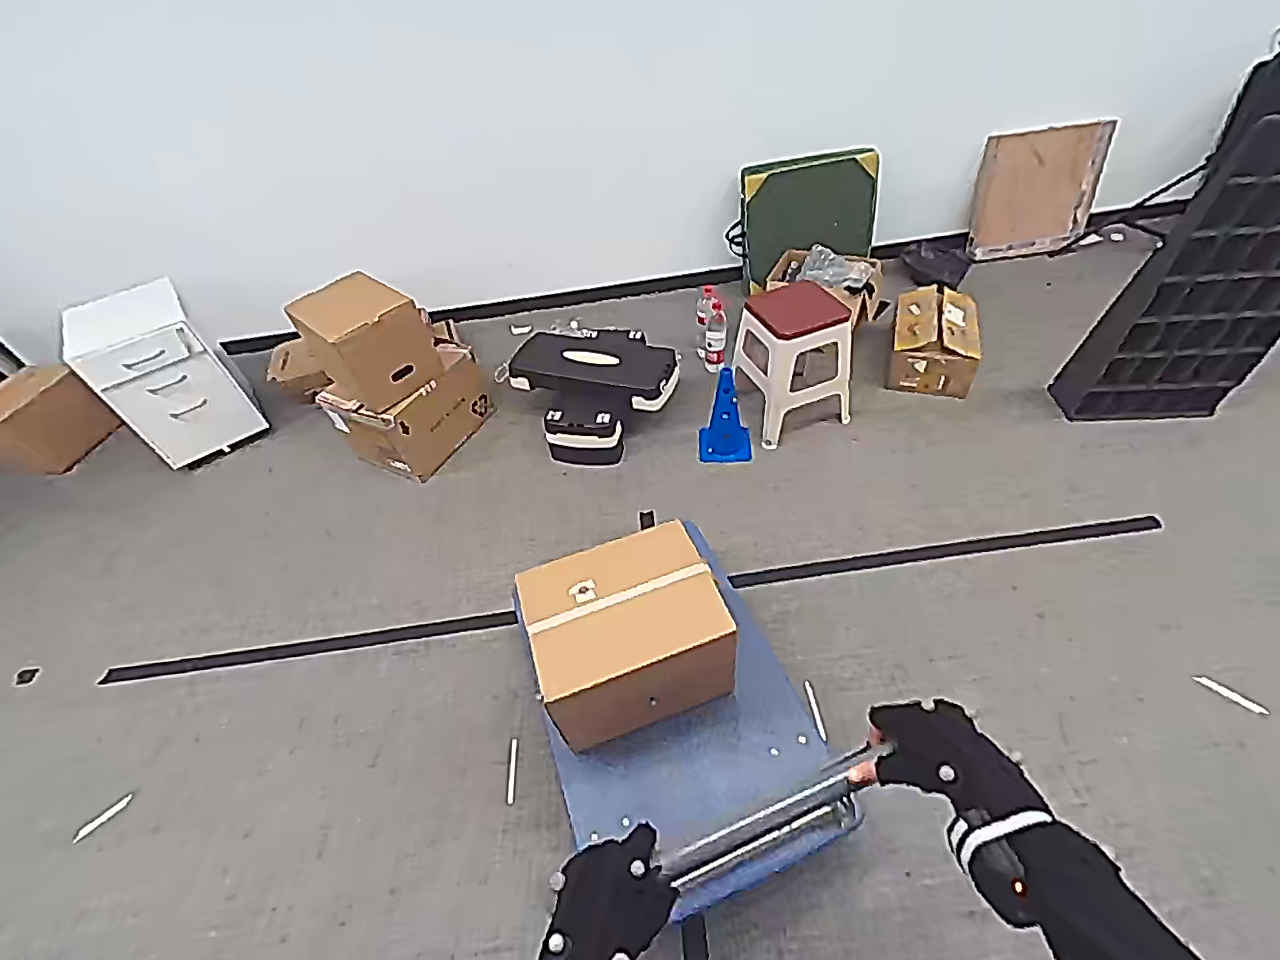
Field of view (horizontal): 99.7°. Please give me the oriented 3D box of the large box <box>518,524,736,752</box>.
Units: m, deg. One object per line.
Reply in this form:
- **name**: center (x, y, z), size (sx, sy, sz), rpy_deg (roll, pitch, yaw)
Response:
- **large box**: center (-0.023, 0.369, 1.263), size (0.408, 0.320, 0.320), rpy_deg (-19, 47, -8)
